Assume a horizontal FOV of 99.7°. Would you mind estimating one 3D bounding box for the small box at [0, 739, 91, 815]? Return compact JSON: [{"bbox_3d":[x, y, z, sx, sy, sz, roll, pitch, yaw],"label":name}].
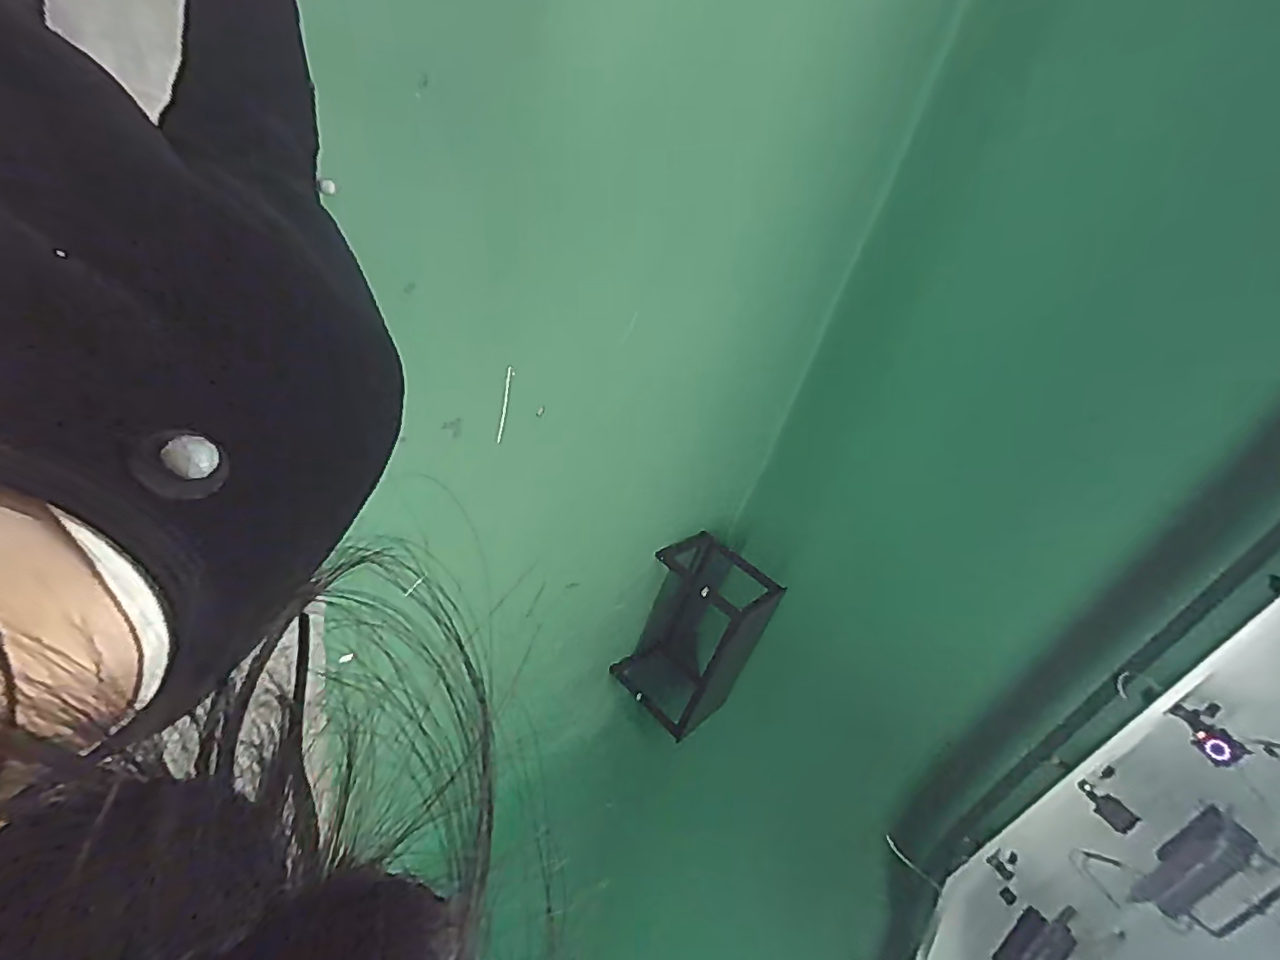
[{"bbox_3d":[-1.600,0.821,1.426,0.168,0.176,0.179,-20,137,-44],"label":"small box"}]
